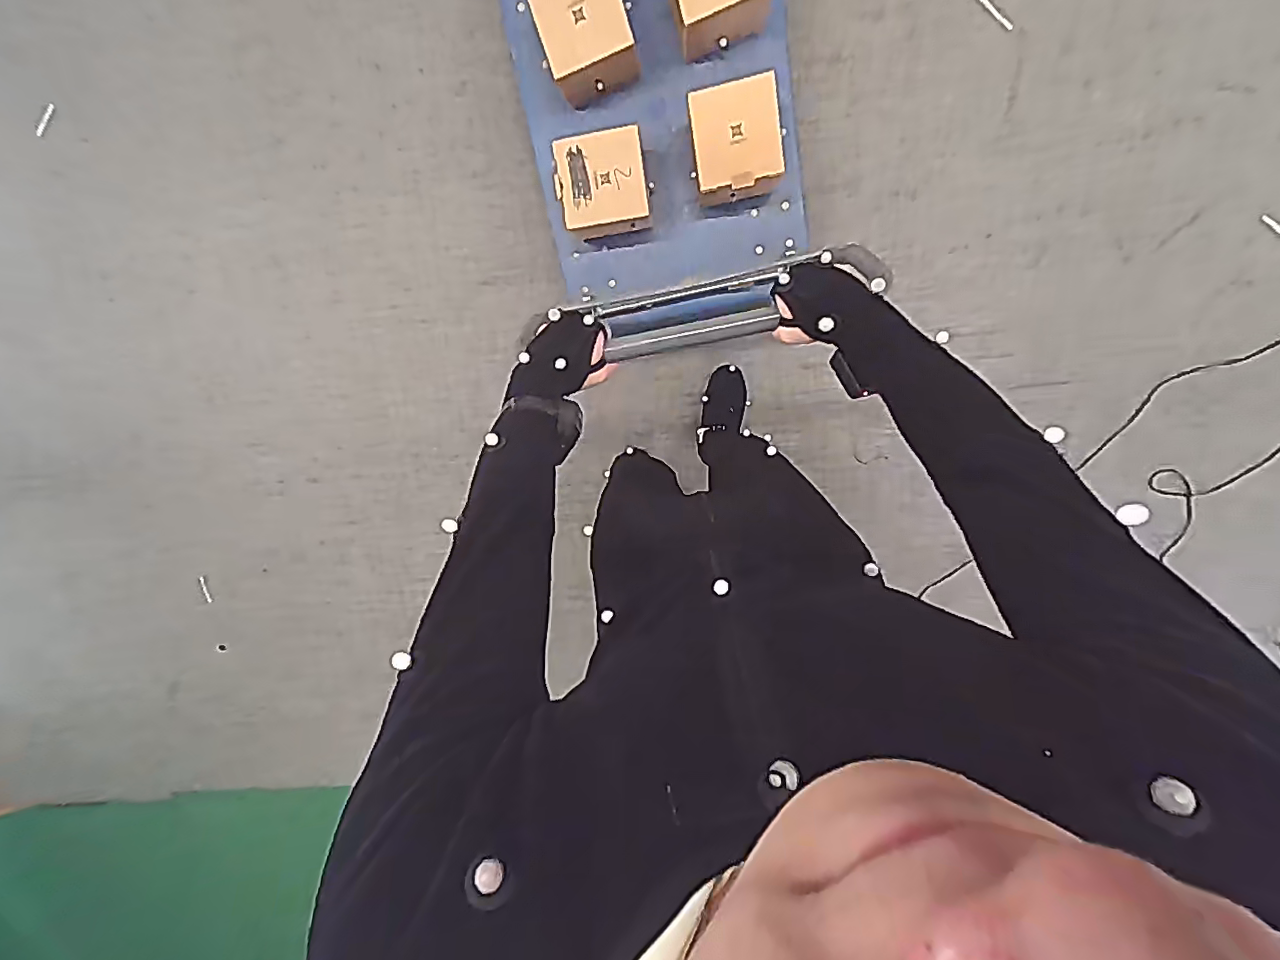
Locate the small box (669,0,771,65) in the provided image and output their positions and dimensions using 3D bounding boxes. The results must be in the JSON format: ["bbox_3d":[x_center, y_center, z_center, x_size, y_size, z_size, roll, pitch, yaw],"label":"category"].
[{"bbox_3d":[0.143,-0.954,1.038,0.168,0.176,0.179,-16,106,11],"label":"small box"}]

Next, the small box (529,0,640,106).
[{"bbox_3d":[-0.104,-0.886,1.082,0.168,0.176,0.179,-17,105,9],"label":"small box"}]

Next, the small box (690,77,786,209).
[{"bbox_3d":[0.197,-0.684,1.119,0.168,0.176,0.179,-9,107,8],"label":"small box"}]
